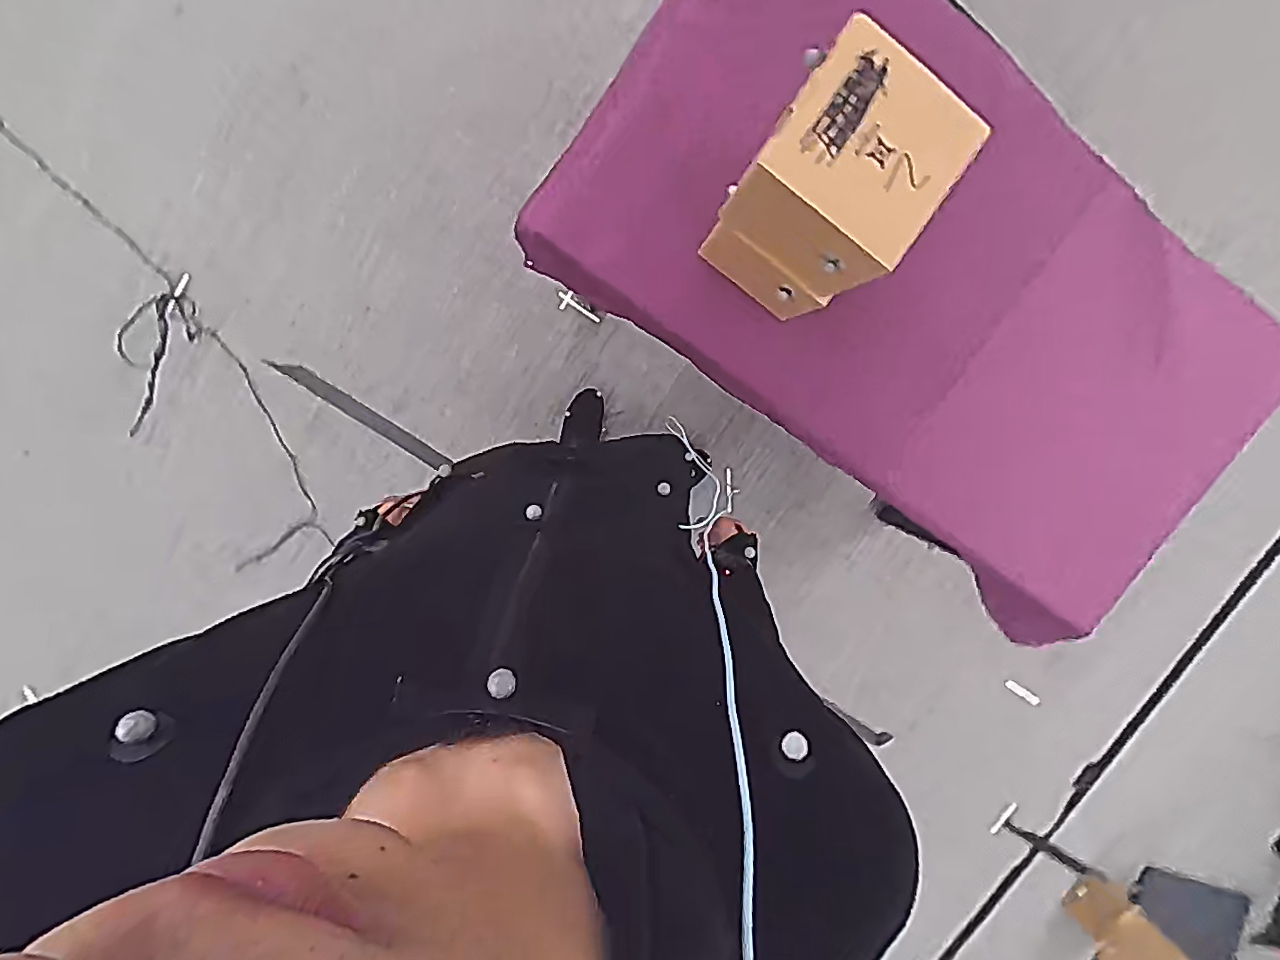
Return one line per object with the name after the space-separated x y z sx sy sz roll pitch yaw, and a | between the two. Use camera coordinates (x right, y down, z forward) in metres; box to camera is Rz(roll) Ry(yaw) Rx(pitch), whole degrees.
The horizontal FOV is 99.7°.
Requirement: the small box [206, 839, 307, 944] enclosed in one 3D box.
-1.193 1.287 1.703 0.168 0.176 0.179 37 96 -9 | small box

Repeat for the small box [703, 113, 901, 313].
0.214 -0.355 0.763 0.179 0.176 0.168 36 95 -10 | small box
